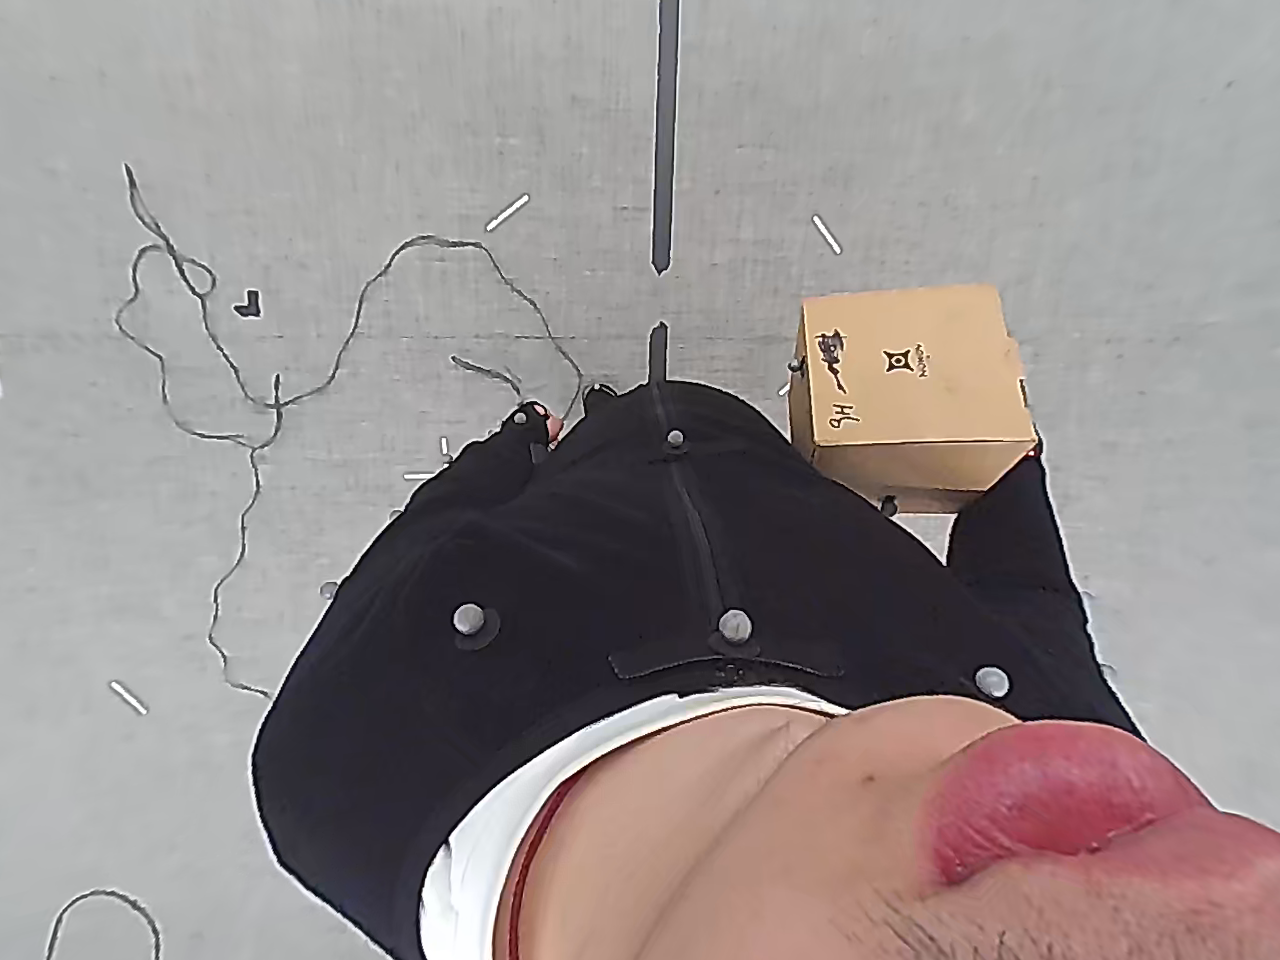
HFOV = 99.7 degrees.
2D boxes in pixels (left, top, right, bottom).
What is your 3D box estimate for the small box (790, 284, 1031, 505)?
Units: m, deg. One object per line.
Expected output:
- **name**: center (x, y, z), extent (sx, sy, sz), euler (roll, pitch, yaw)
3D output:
- **small box**: center (0.259, -0.079, 0.567), extent (0.179, 0.176, 0.168), euler (-1, 66, 10)
